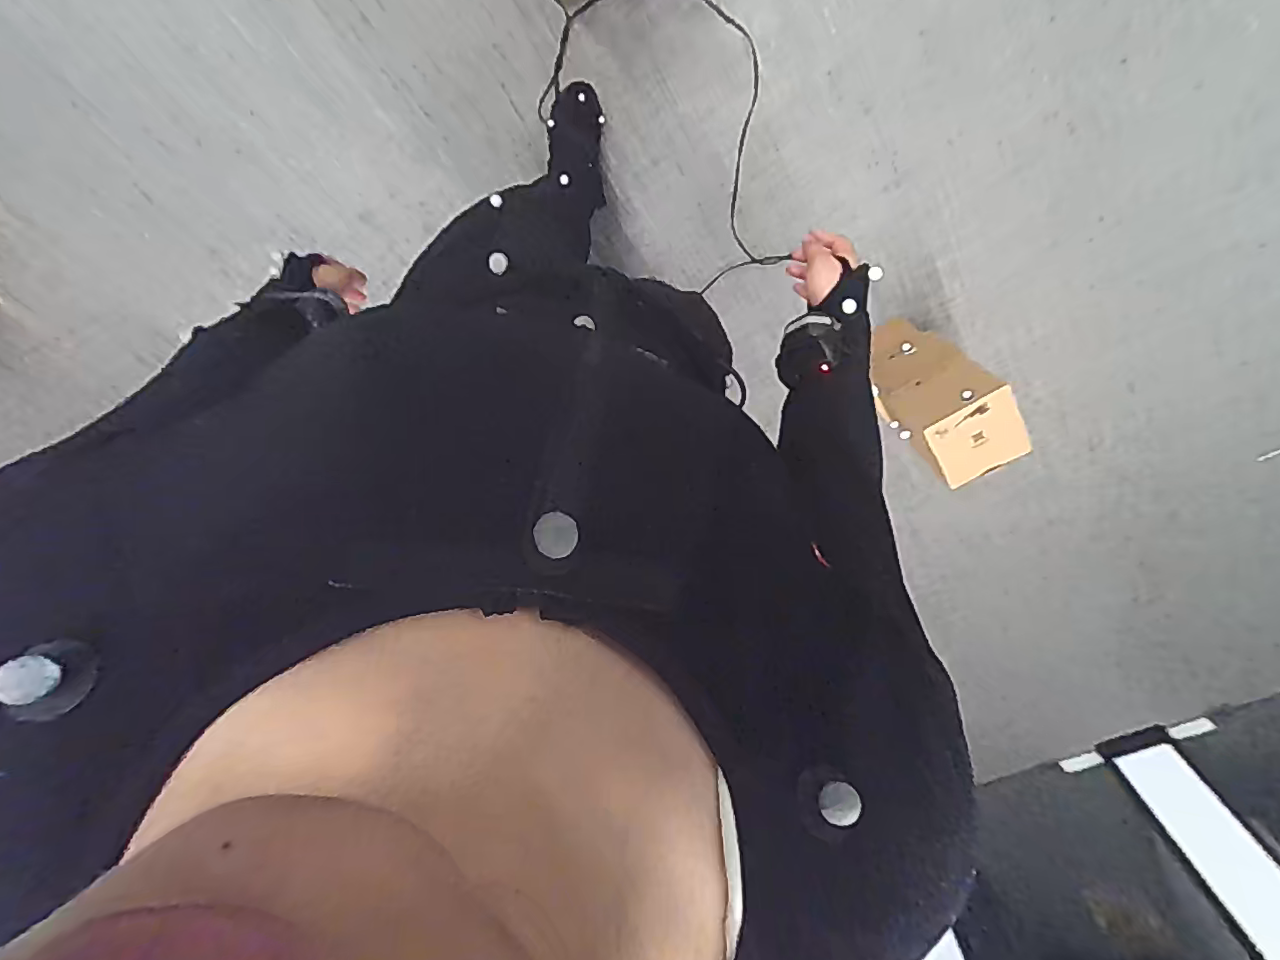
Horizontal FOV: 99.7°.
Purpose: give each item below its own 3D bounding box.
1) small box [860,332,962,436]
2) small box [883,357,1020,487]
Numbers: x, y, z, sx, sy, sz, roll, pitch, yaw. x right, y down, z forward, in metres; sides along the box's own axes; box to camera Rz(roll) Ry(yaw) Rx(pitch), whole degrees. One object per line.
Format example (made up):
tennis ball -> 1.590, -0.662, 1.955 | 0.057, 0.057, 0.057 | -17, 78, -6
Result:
small box -> 0.646, -0.215, 1.263 | 0.168, 0.176, 0.179 | -31, 118, 17
small box -> 0.641, -0.124, 1.126 | 0.168, 0.176, 0.179 | -31, 120, 17
